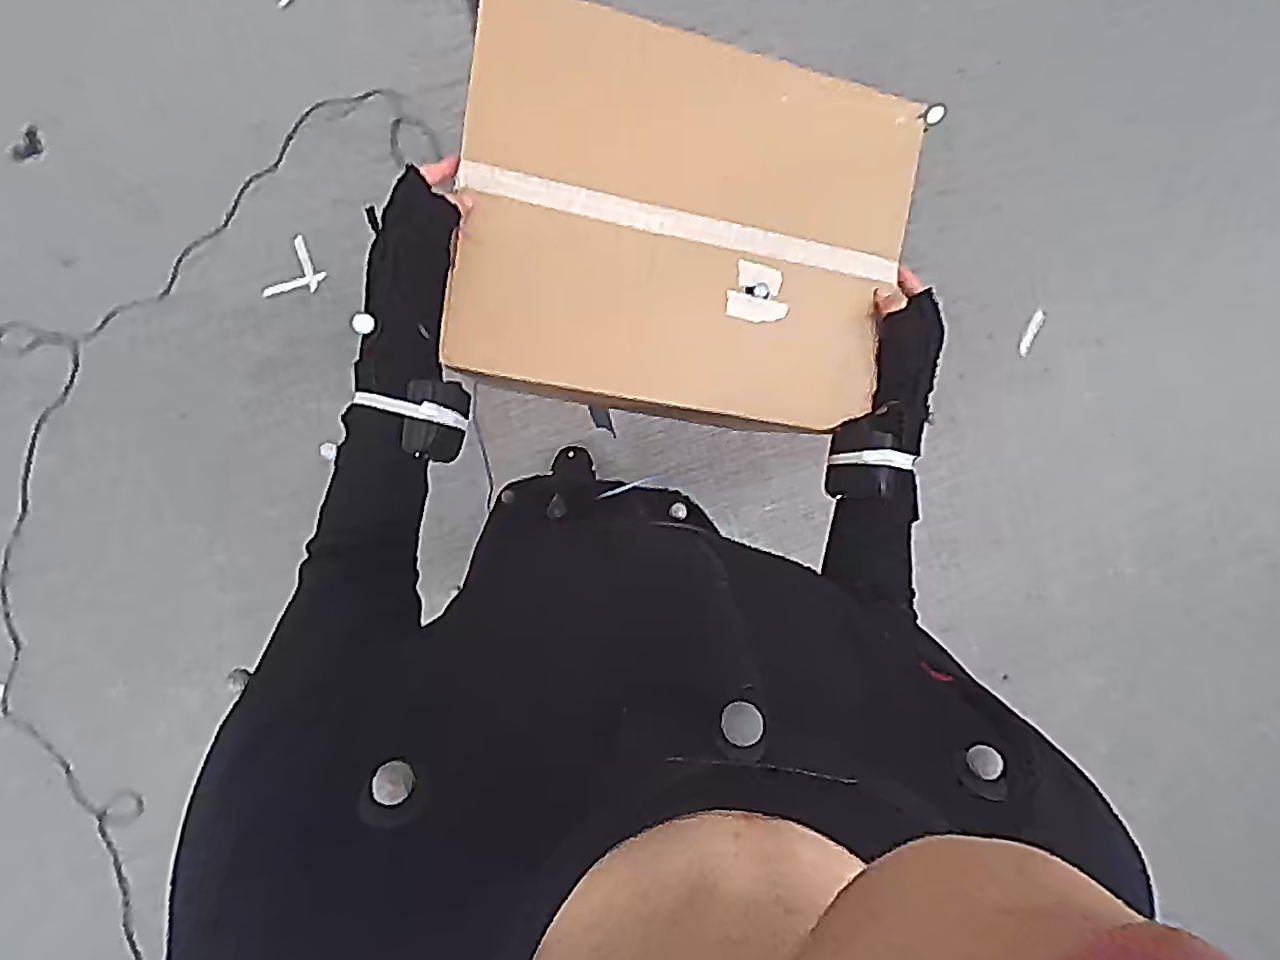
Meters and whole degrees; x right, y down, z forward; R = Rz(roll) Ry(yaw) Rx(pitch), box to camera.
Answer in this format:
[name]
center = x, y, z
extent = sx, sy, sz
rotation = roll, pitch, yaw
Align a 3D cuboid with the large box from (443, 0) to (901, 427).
[large box]
center = 0.010, -0.241, 0.636
extent = 0.408, 0.320, 0.320
rotation = 7, 96, -12
